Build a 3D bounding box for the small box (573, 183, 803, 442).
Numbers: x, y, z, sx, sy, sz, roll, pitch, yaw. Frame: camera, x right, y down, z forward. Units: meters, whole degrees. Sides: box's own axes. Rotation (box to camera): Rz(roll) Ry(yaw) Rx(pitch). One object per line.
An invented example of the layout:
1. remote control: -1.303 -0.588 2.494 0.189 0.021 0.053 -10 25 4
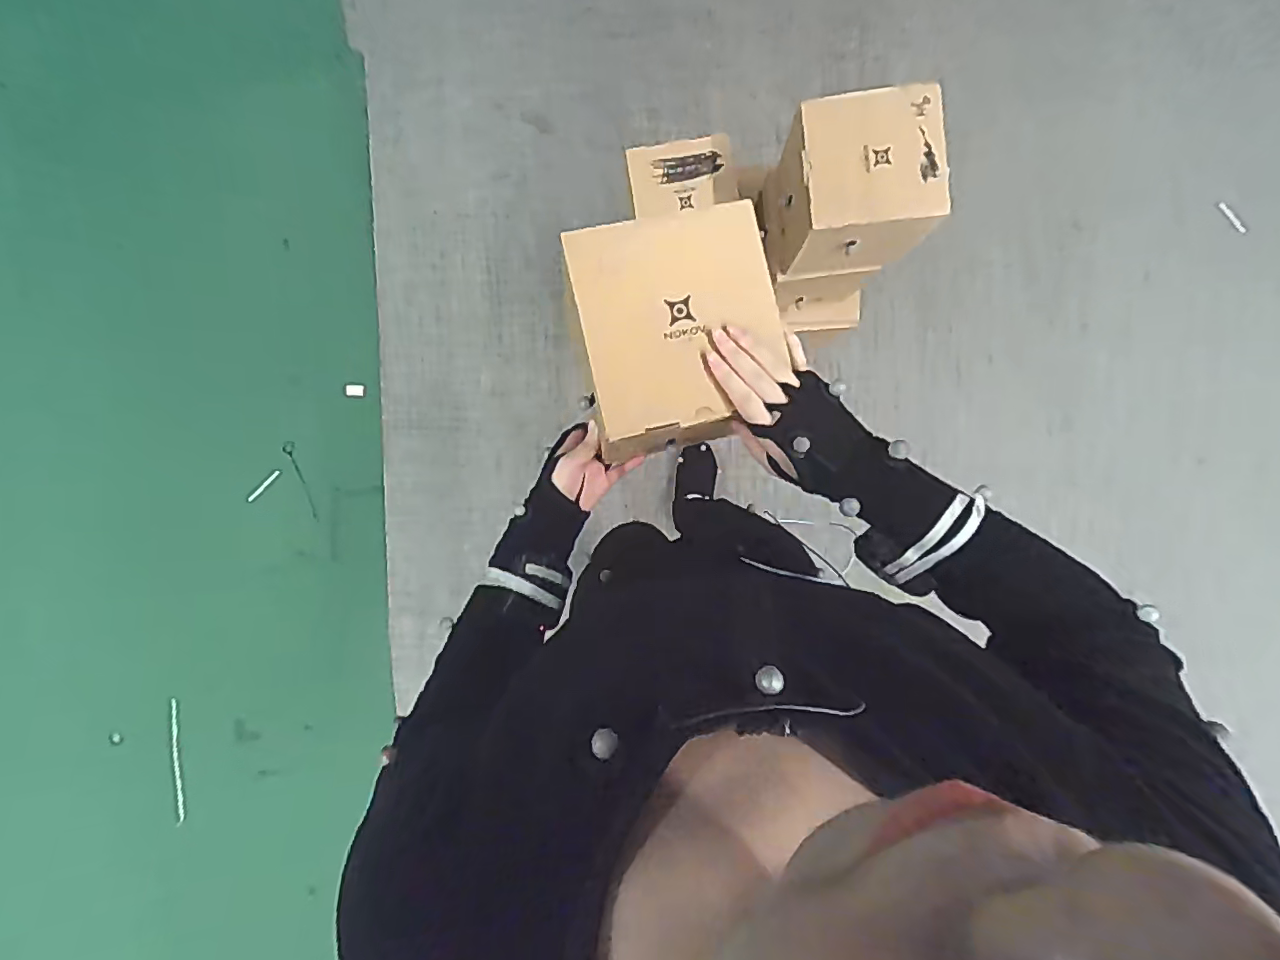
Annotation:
1. small box: 0.031 -0.146 0.525 0.168 0.176 0.179 -13 88 -6
